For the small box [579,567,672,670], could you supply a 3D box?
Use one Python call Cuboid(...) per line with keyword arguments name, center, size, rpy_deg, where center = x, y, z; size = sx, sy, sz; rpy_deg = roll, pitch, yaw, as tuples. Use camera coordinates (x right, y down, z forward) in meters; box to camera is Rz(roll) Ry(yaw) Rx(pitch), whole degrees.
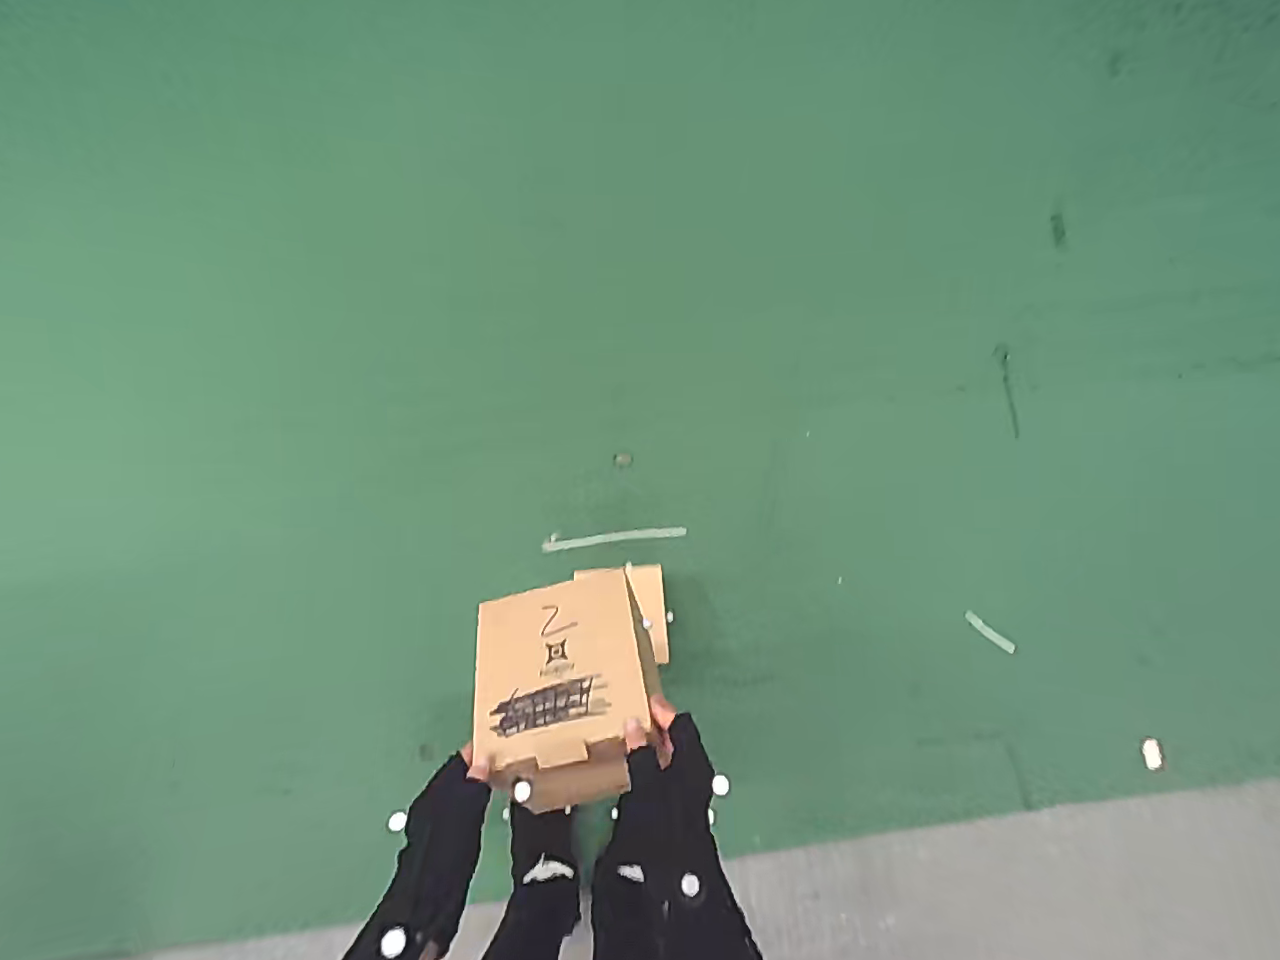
Cuboid(name="small box", center=(-0.030, 0.273, 1.071), size=(0.168, 0.176, 0.179), rpy_deg=(-5, 76, -1))
